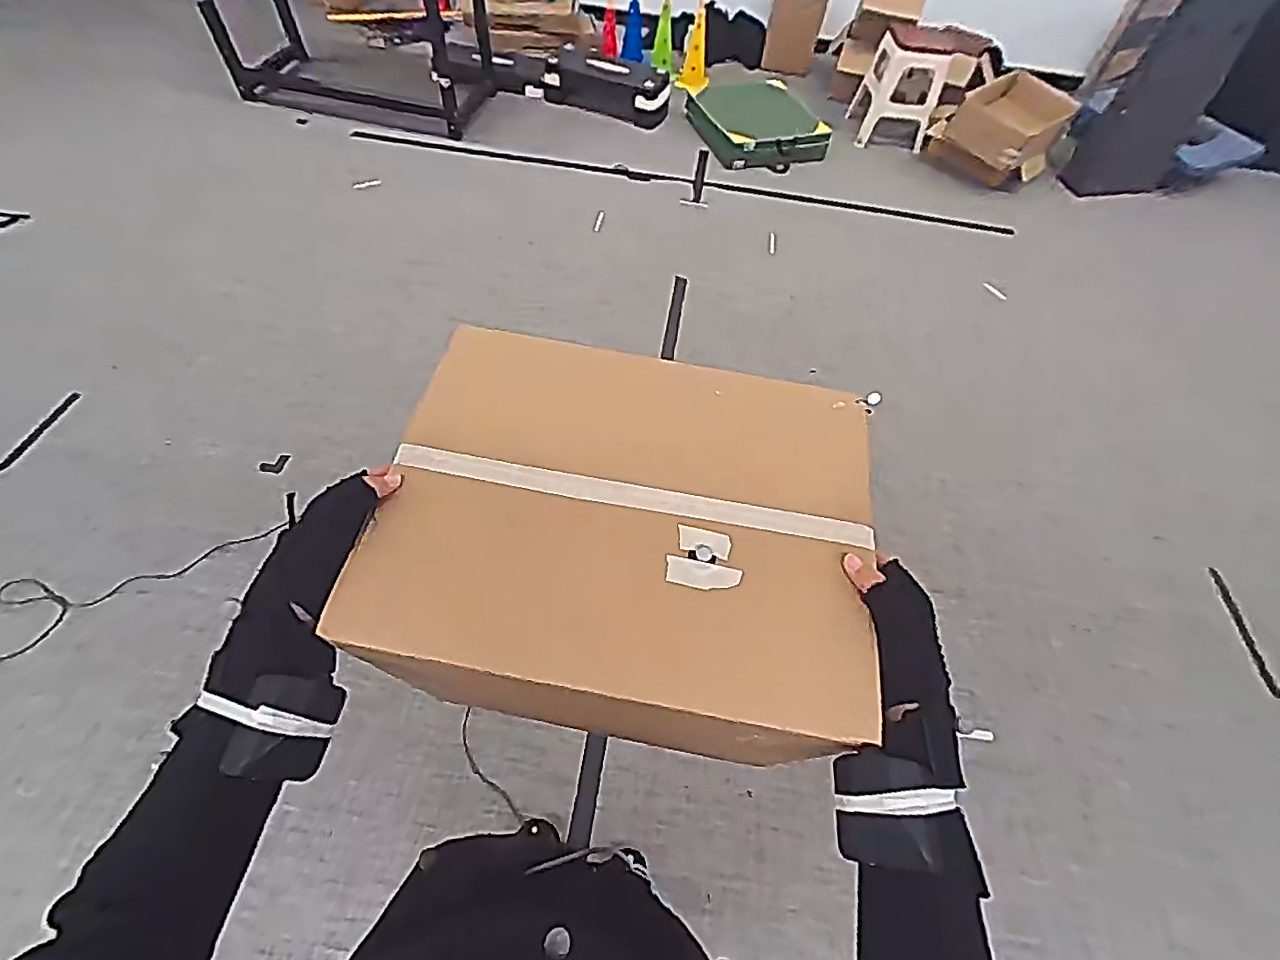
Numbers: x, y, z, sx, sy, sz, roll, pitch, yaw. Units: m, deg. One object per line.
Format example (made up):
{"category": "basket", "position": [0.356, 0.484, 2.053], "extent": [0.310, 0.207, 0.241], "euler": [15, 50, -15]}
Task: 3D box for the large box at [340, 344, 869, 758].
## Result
{"category": "large box", "position": [-0.016, 0.096, 0.596], "extent": [0.408, 0.320, 0.320], "euler": [10, 61, 2]}
